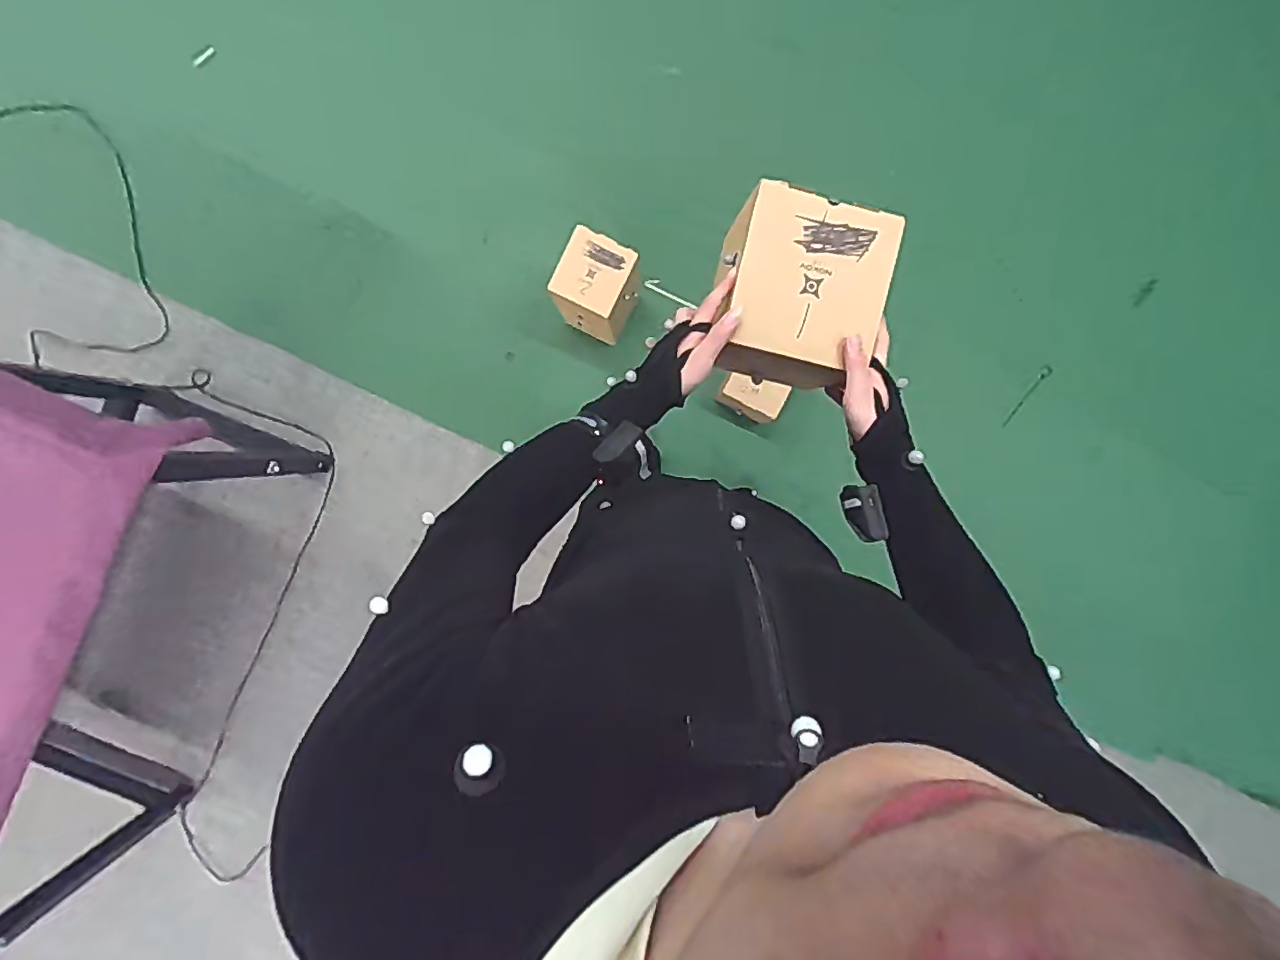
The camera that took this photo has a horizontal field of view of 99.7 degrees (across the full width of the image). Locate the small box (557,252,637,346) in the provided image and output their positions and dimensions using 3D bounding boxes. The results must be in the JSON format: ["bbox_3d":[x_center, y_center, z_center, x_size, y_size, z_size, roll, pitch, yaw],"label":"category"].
[{"bbox_3d":[-0.116,-0.504,1.533,0.168,0.176,0.179,26,90,-1],"label":"small box"}]

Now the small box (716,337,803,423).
[{"bbox_3d":[0.332,-0.277,1.546,0.168,0.176,0.179,27,92,-2],"label":"small box"}]
